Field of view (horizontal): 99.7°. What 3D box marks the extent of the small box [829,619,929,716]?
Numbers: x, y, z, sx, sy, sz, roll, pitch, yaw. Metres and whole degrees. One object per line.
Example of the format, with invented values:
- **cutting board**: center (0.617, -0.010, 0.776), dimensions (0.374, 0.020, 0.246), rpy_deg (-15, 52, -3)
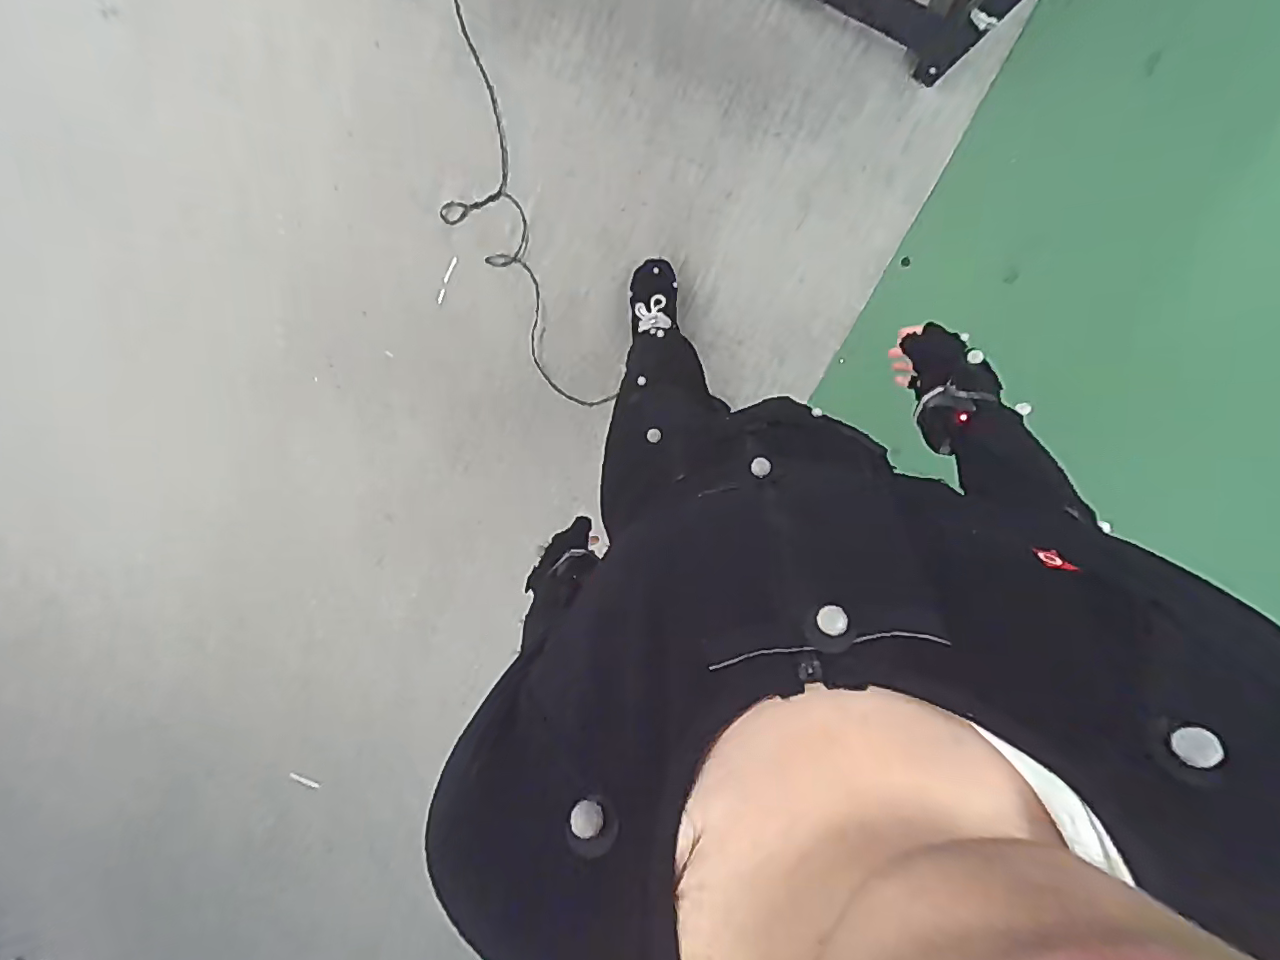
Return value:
- **small box**: center (0.674, 0.527, 1.546), dimensions (0.179, 0.176, 0.168), rpy_deg (25, 105, -3)
